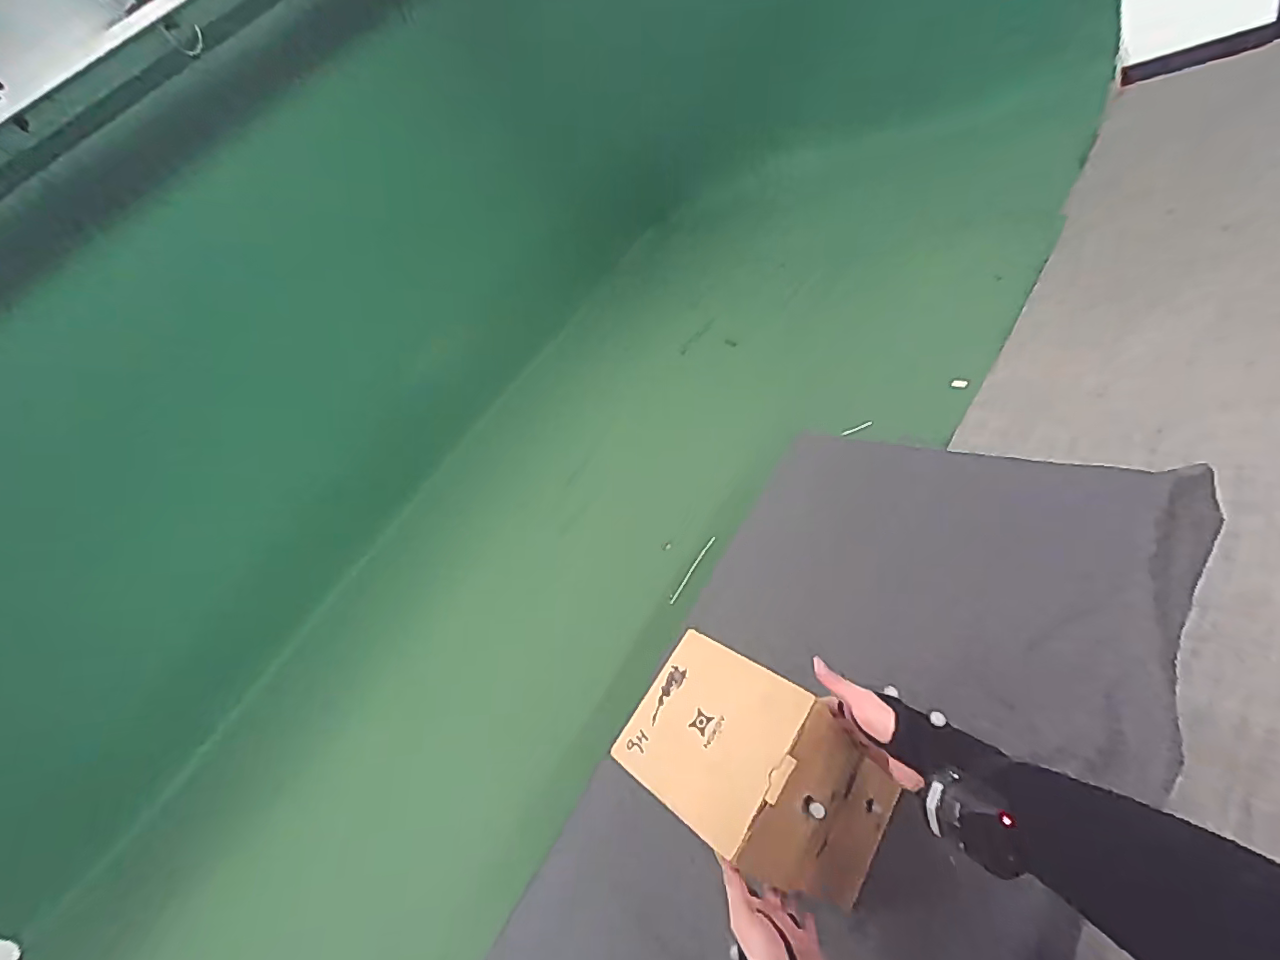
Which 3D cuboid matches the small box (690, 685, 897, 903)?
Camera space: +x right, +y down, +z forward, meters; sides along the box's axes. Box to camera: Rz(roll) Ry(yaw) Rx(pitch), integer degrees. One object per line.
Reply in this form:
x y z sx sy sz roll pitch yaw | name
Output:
0.205 0.405 0.700 0.179 0.176 0.168 13 61 48 | small box
